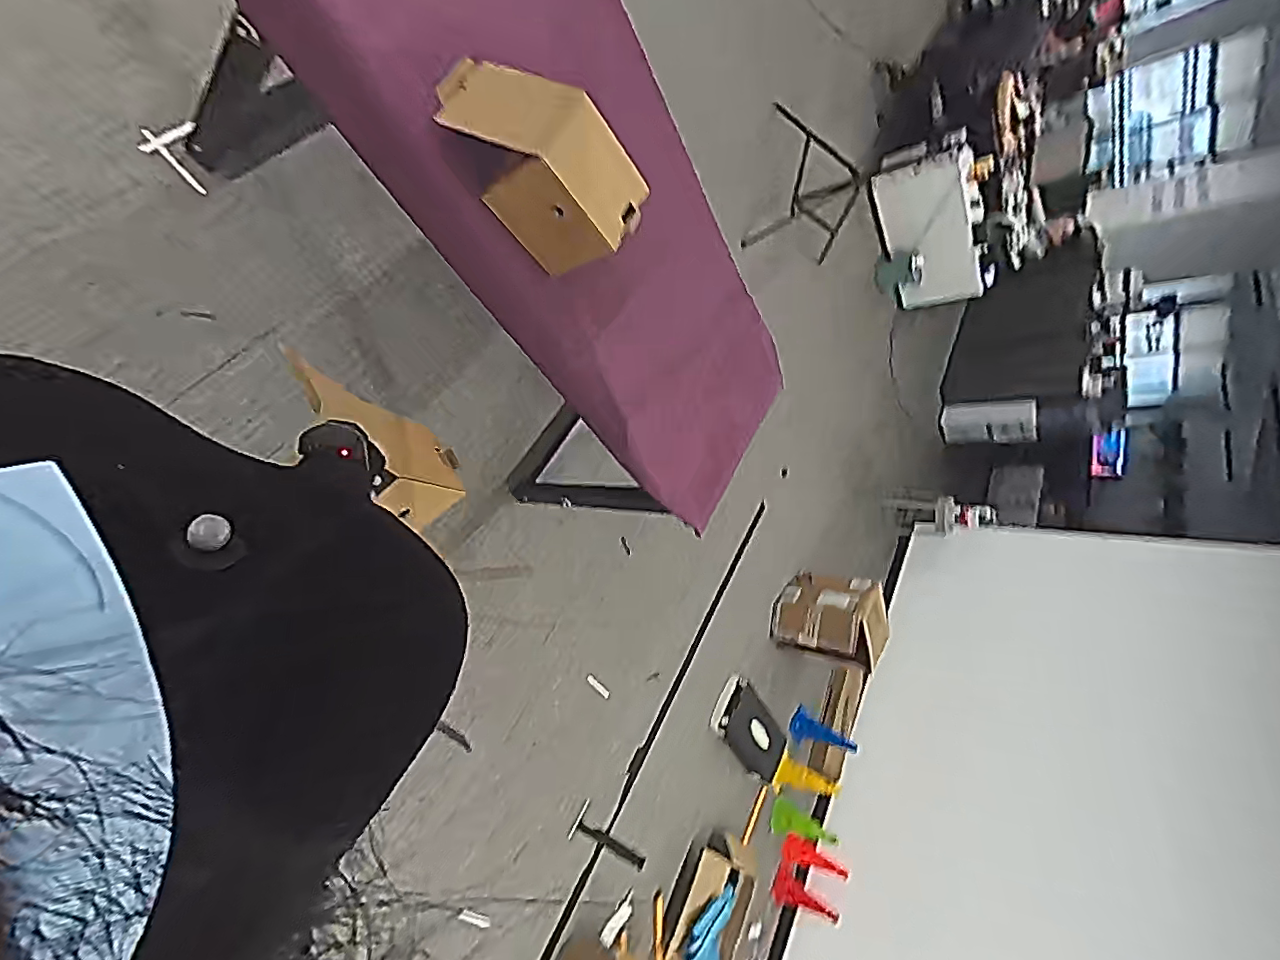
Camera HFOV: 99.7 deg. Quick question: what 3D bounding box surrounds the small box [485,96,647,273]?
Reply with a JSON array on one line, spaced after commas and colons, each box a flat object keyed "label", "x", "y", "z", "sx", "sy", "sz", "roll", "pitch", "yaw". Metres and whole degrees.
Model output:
[{"label": "small box", "x": -0.125, "y": -0.482, "z": 0.910, "sx": 0.179, "sy": 0.176, "sz": 0.168, "roll": 43, "pitch": 61, "yaw": -38}]
